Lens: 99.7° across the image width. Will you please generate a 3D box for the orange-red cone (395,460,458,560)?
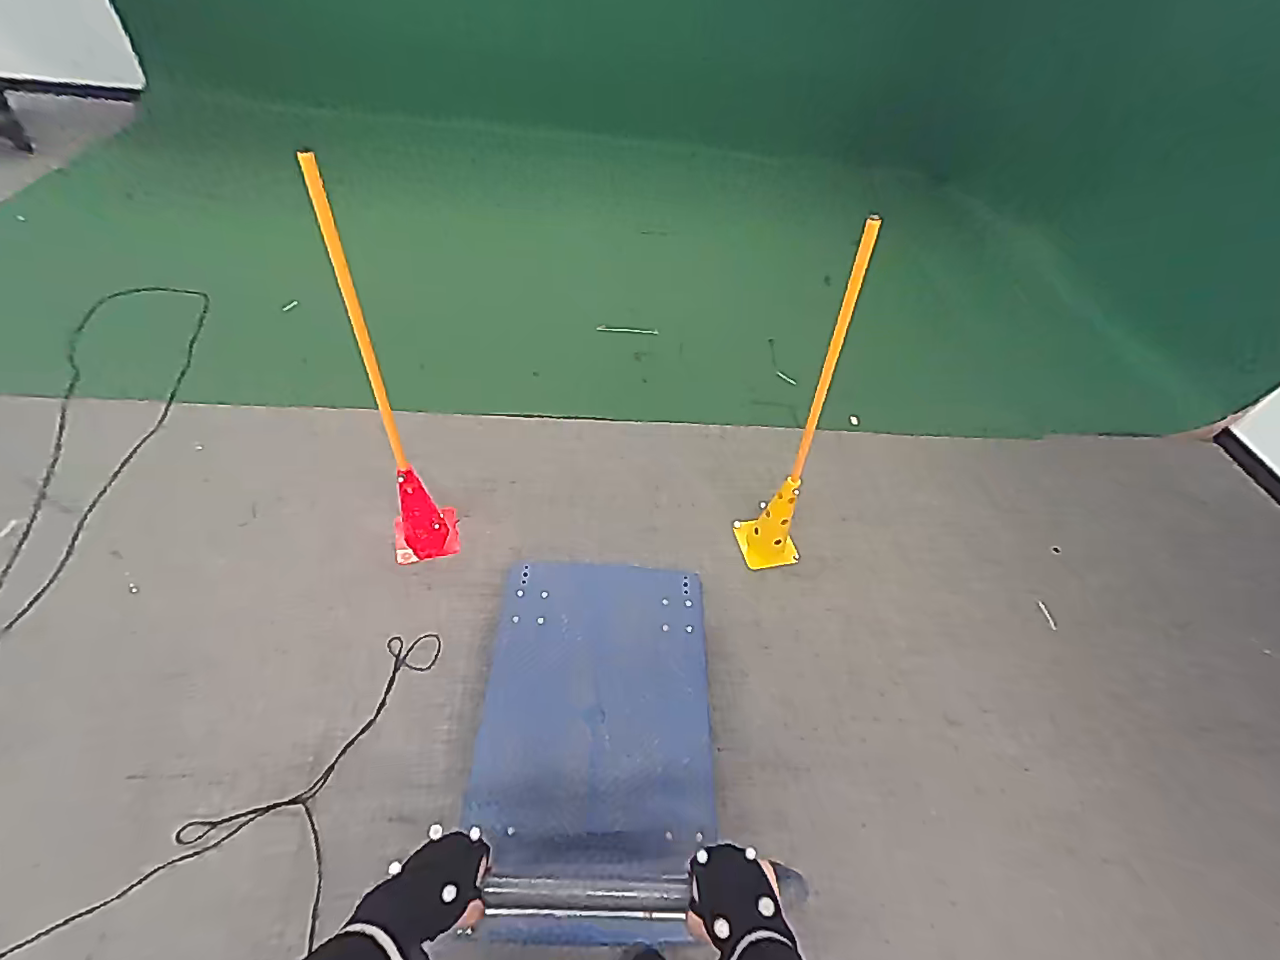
[{"bbox_3d":[-0.709,0.069,1.703,0.199,0.360,0.198,-10,52,-14],"label":"orange-red cone"}]
